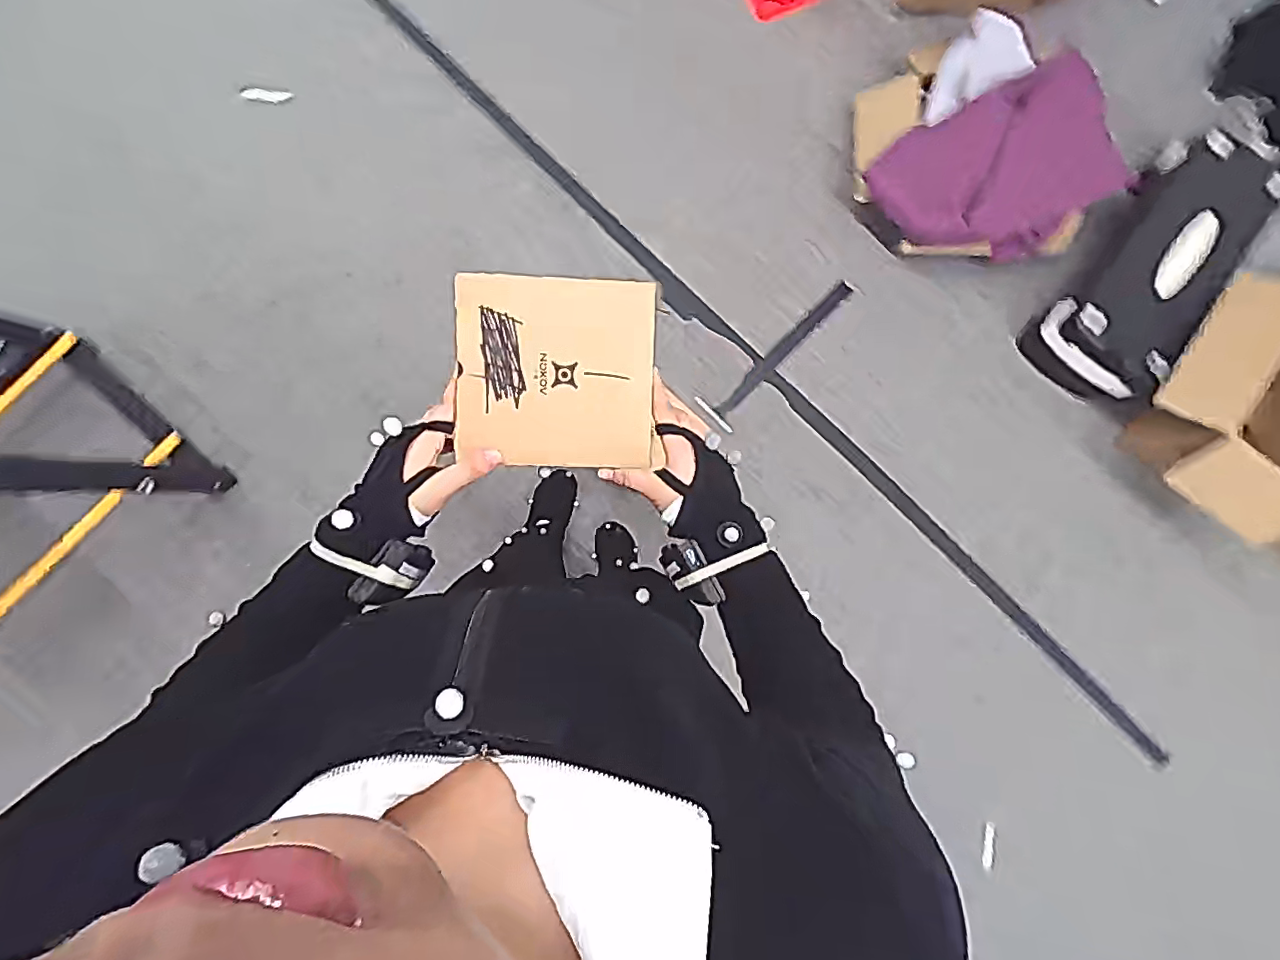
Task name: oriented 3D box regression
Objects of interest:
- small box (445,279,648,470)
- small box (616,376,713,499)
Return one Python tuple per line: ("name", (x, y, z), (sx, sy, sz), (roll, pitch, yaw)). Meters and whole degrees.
("small box", (-0.086, -0.096, 0.550), (0.179, 0.176, 0.168), (0, 95, -5))
("small box", (0.020, -0.079, 1.090), (0.168, 0.176, 0.179), (43, 88, 1))
